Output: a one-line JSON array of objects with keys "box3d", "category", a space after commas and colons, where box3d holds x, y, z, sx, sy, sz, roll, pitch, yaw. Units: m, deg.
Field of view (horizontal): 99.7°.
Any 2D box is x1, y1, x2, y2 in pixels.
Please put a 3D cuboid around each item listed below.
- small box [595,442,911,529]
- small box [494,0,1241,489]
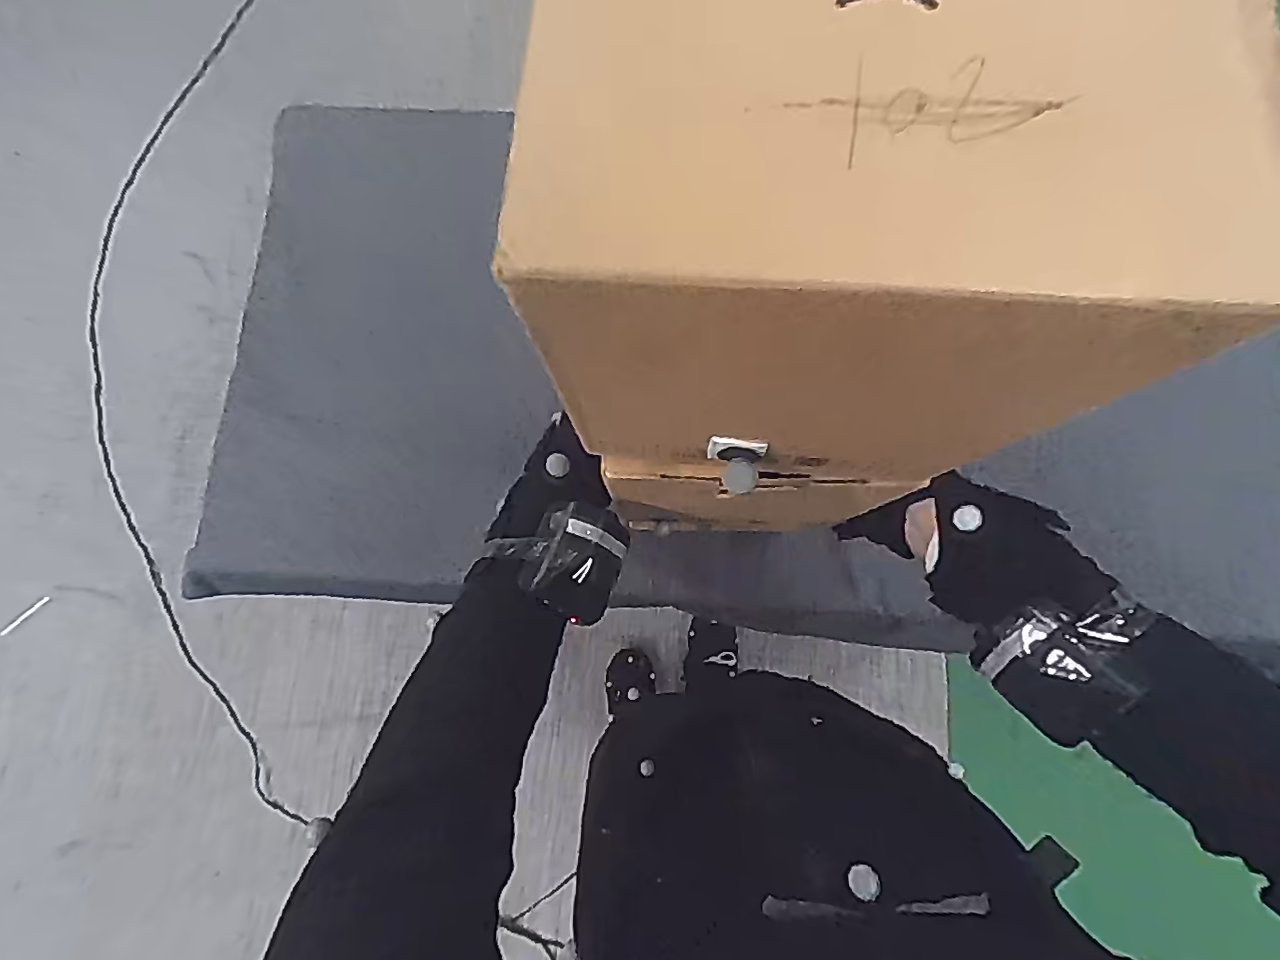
[{"box3d": [0.064, -0.062, 0.373, 0.168, 0.176, 0.179, 1, 76, 3], "category": "small box"}, {"box3d": [0.056, -0.103, 0.217, 0.168, 0.176, 0.179, 3, 78, 4], "category": "small box"}]
